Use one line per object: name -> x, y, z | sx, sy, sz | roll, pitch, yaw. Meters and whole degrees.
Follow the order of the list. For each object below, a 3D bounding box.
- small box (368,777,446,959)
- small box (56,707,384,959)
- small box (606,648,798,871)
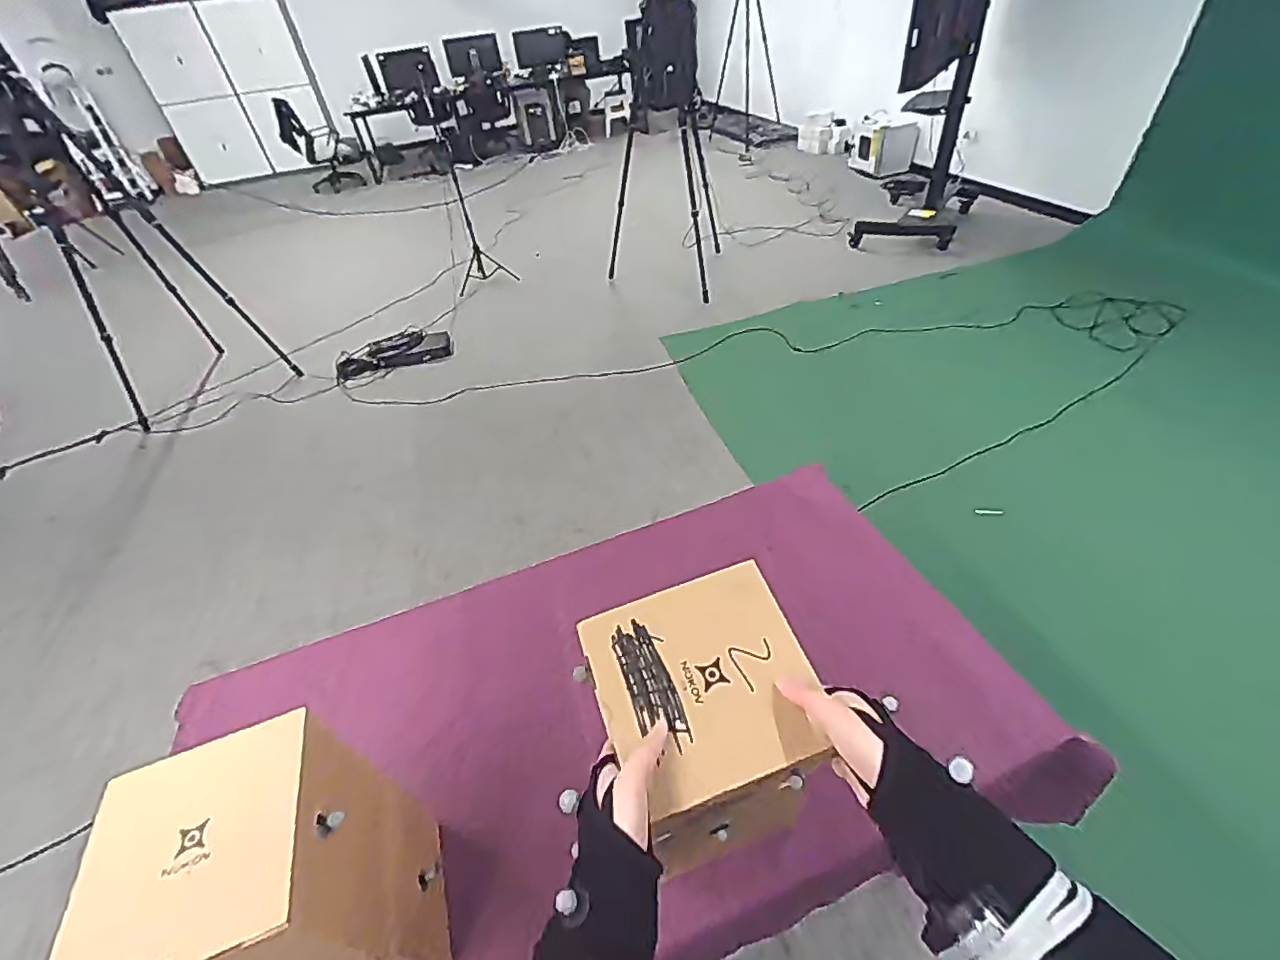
small box -> -0.326, 0.470, 0.597 | 0.179, 0.176, 0.168 | -19, 43, -12
small box -> -0.348, 0.349, 0.489 | 0.168, 0.176, 0.179 | -19, 44, -12
small box -> 0.073, 0.345, 0.667 | 0.179, 0.176, 0.168 | -17, 43, -10
